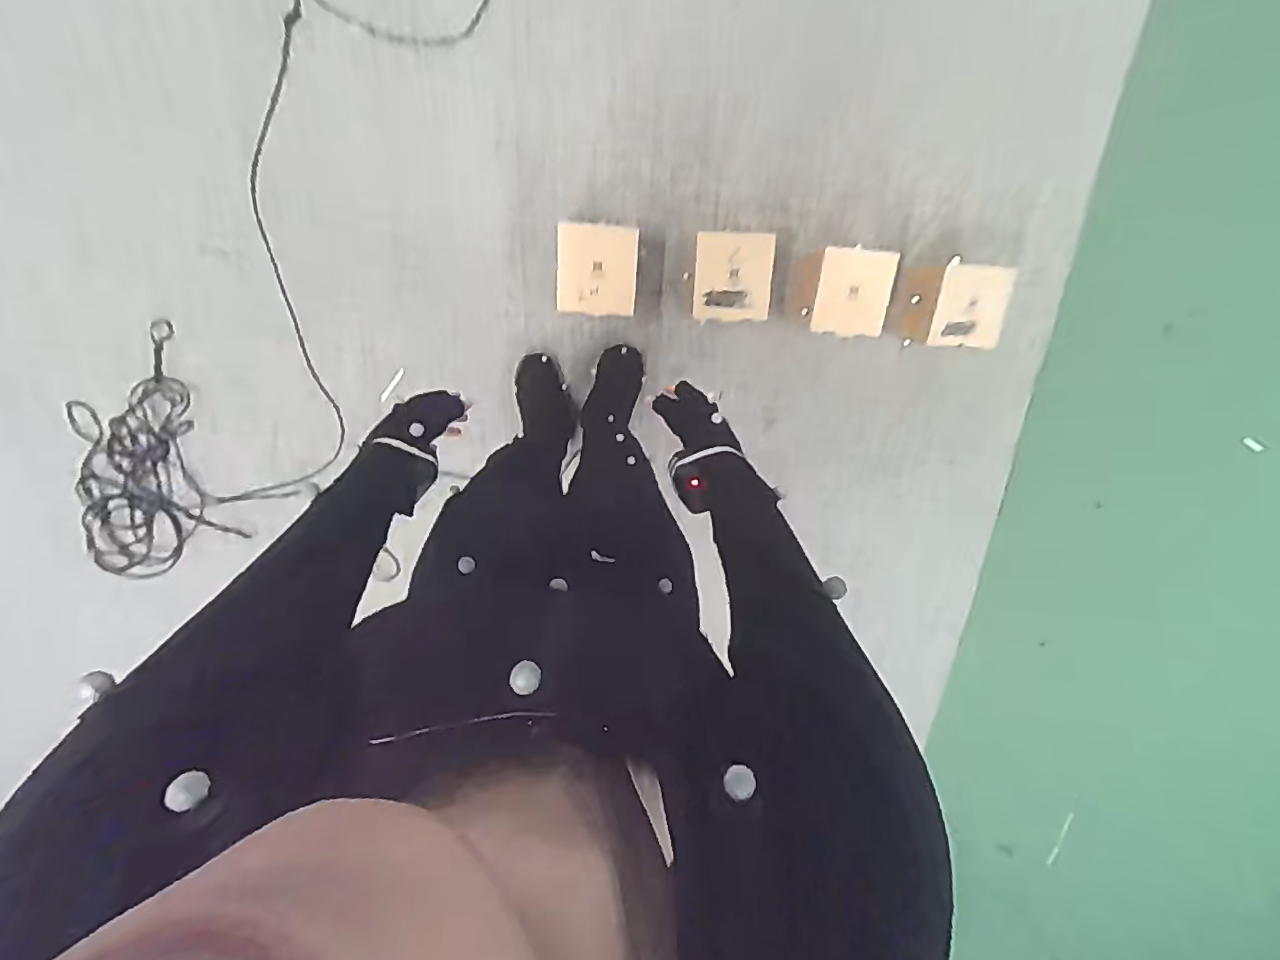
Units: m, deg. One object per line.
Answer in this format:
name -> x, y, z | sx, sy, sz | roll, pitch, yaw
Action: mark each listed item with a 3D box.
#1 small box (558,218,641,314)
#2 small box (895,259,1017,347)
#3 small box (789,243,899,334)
small box -> -0.090, -0.467, 1.190 | 0.168, 0.176, 0.179 | 3, 111, -4
small box -> 0.723, -0.416, 1.263 | 0.168, 0.176, 0.179 | 2, 111, -5
small box -> 0.456, -0.438, 1.237 | 0.168, 0.176, 0.179 | 3, 112, -5
